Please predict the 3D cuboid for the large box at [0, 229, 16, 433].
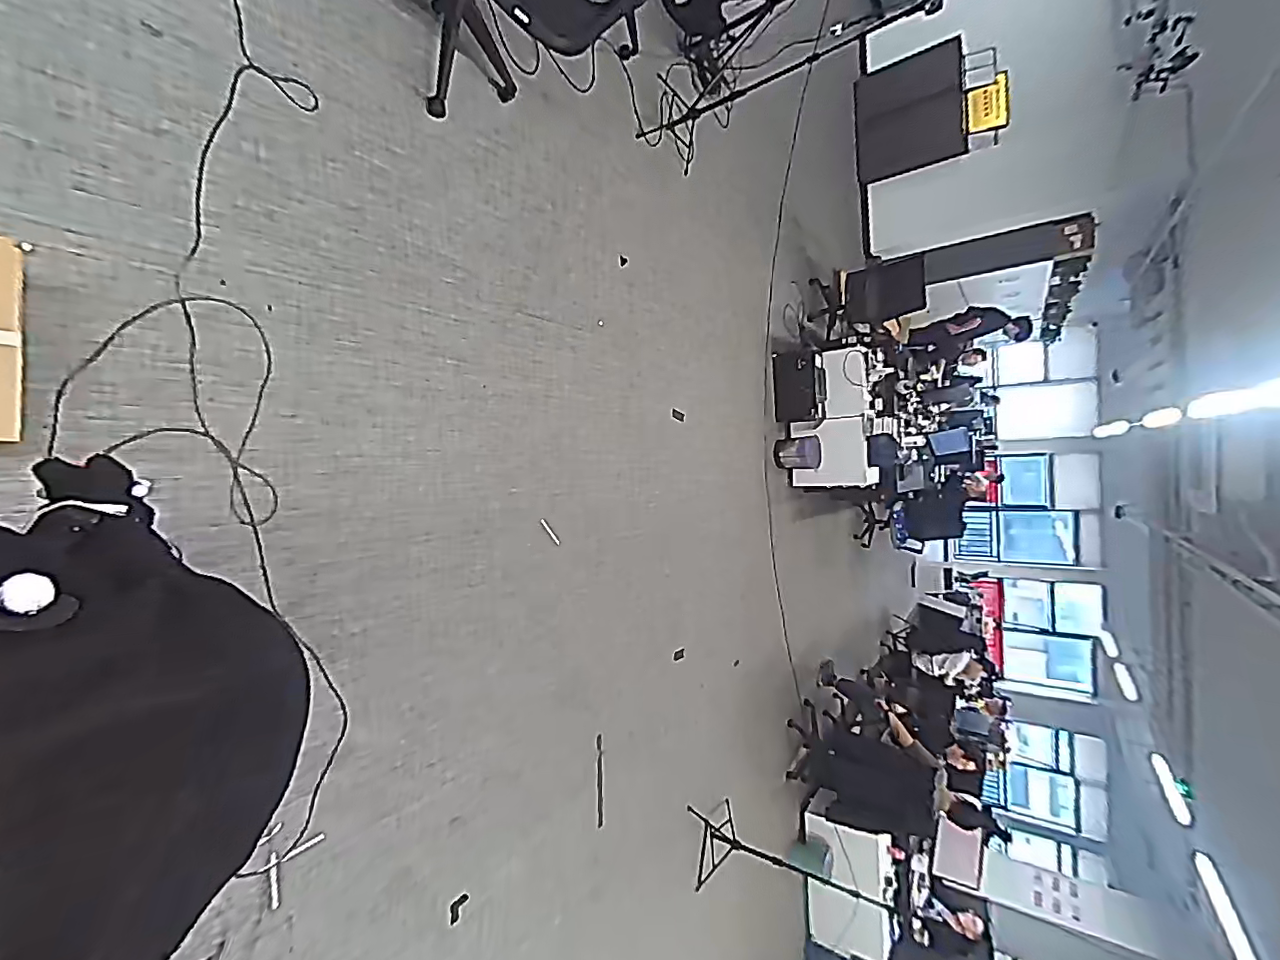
[{"bbox_3d":[-1.187,-0.221,0.740,0.408,0.320,0.320,1,89,-56],"label":"large box"}]
